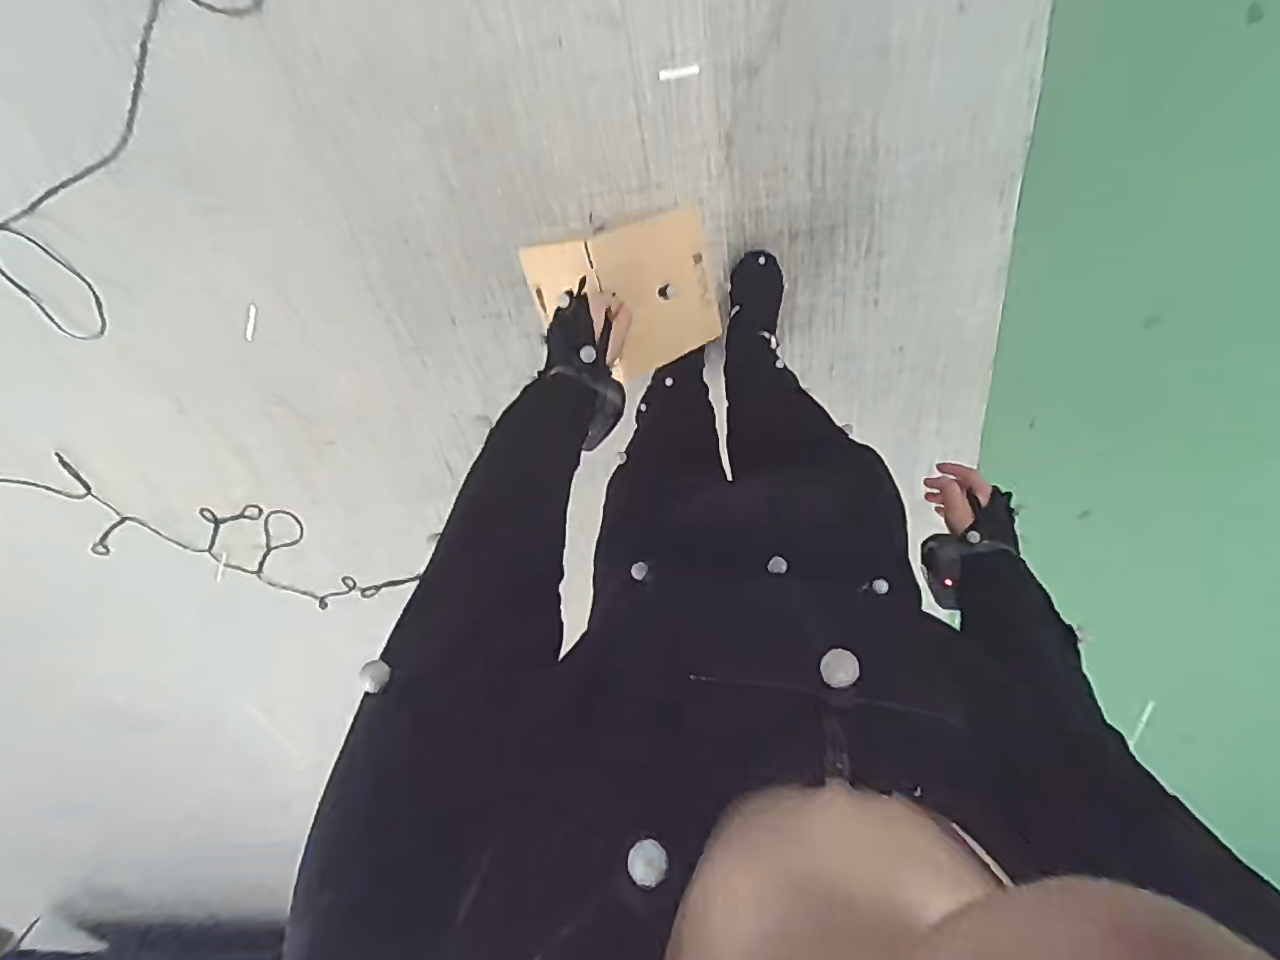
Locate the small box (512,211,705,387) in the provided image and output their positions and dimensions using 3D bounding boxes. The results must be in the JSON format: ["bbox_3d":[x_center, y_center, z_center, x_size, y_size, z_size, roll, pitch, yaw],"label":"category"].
[{"bbox_3d":[-0.032,-0.238,0.712,0.176,0.179,0.168,-34,122,-27],"label":"small box"}]
